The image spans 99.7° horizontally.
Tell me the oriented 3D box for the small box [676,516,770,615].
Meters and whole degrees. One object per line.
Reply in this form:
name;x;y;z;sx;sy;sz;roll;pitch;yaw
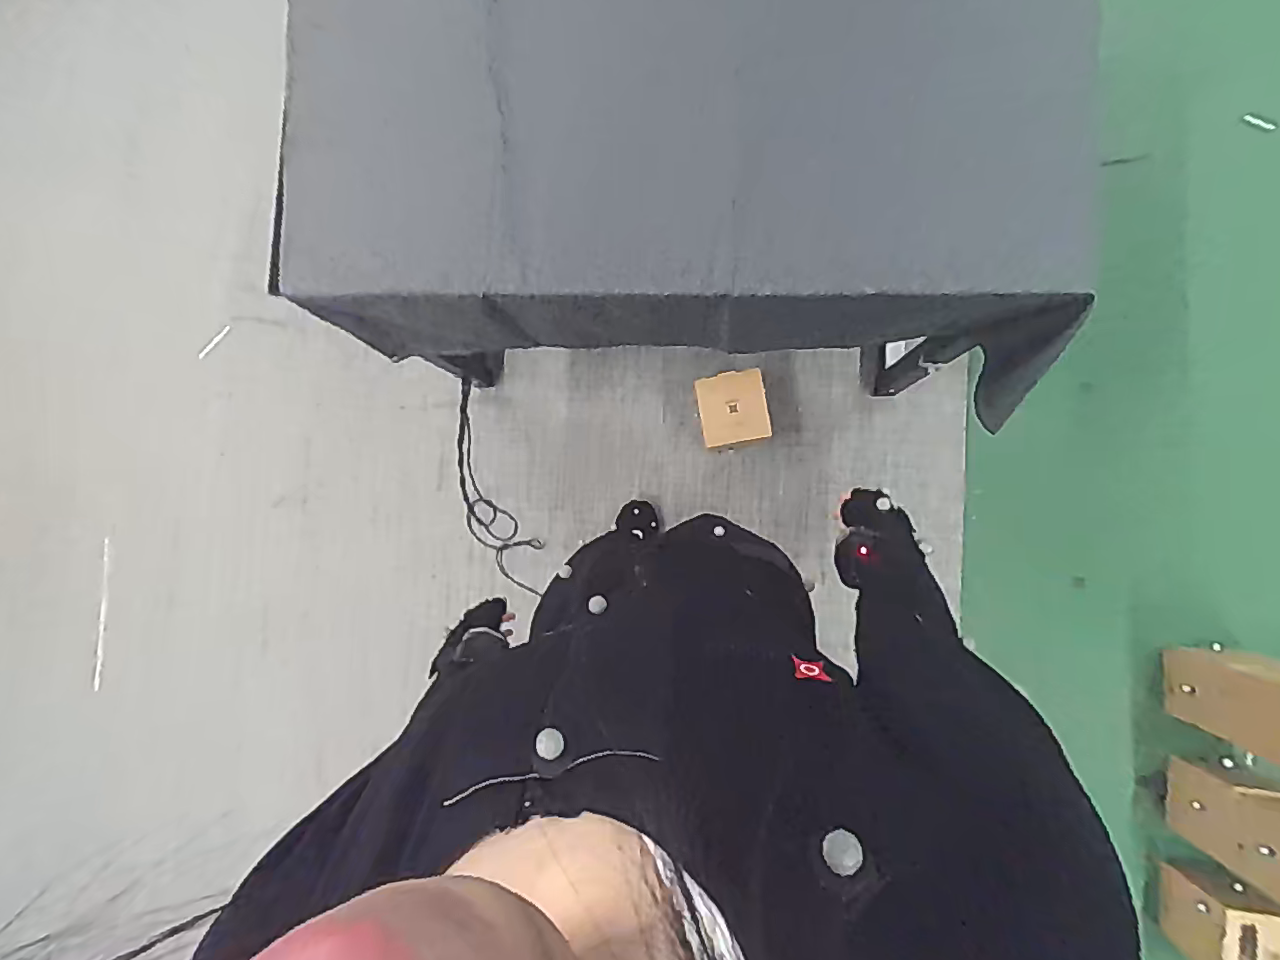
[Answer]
small box;0.222;0.220;1.394;0.168;0.176;0.179;9;60;36

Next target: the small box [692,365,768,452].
small box;0.229;-0.180;1.407;0.168;0.176;0.179;-10;86;6

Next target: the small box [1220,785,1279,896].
small box;1.327;0.738;1.078;0.179;0.176;0.168;4;89;6

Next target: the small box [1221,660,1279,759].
small box;1.338;0.472;1.090;0.168;0.176;0.179;0;88;6
